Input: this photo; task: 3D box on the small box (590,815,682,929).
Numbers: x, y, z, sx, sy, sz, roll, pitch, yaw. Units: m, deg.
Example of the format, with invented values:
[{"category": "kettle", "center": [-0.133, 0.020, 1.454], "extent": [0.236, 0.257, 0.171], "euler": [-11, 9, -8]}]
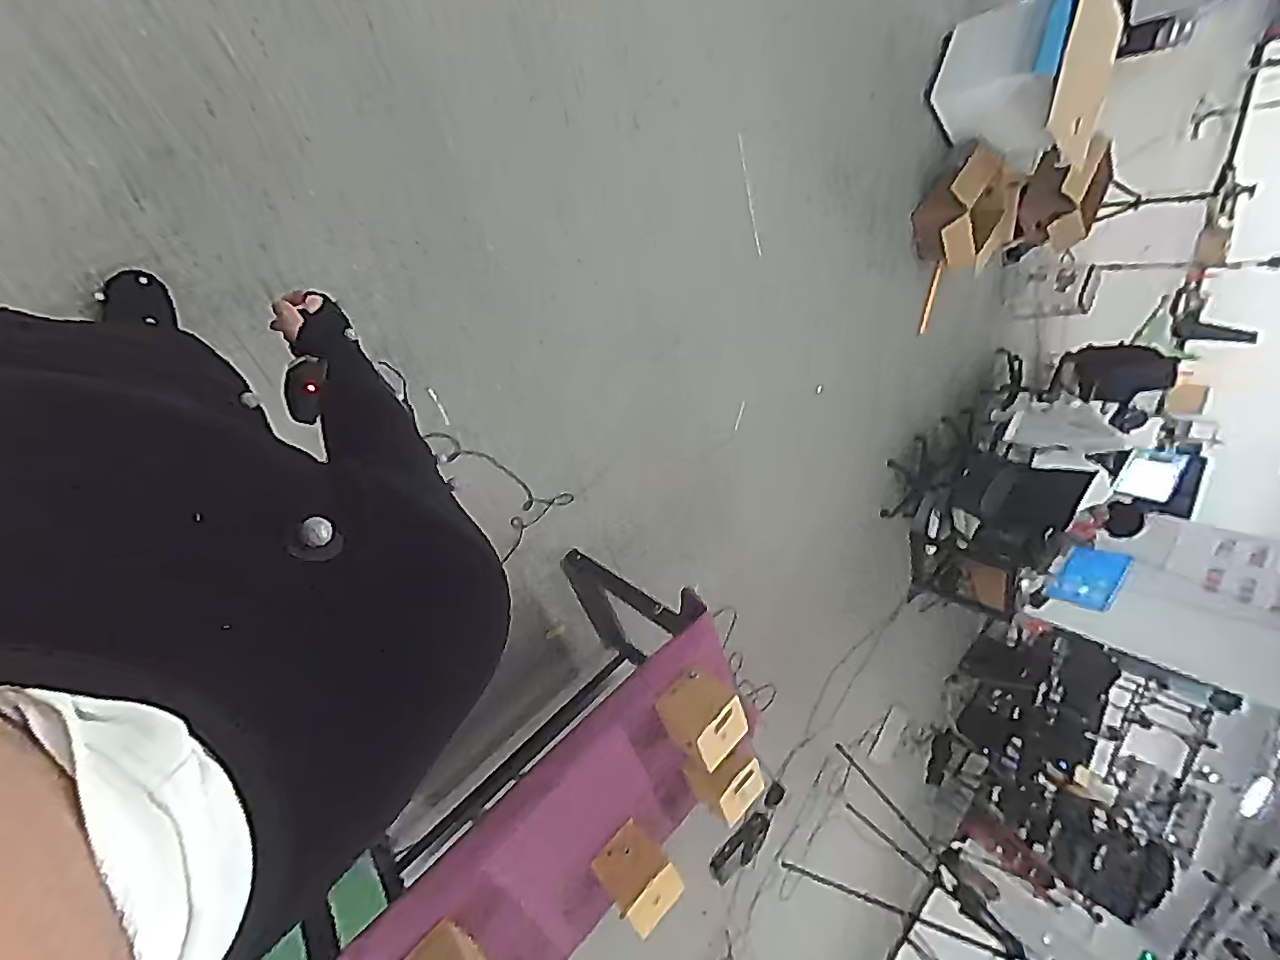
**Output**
[{"category": "small box", "center": [-0.013, 1.095, 1.523], "extent": [0.168, 0.176, 0.179], "euler": [-37, 125, -26]}]

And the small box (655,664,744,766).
[{"category": "small box", "center": [0.165, 0.646, 1.515], "extent": [0.168, 0.176, 0.179], "euler": [-37, 127, -26]}]

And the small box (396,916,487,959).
[{"category": "small box", "center": [-0.418, 1.093, 1.157], "extent": [0.168, 0.176, 0.179], "euler": [-37, 128, -28]}]
